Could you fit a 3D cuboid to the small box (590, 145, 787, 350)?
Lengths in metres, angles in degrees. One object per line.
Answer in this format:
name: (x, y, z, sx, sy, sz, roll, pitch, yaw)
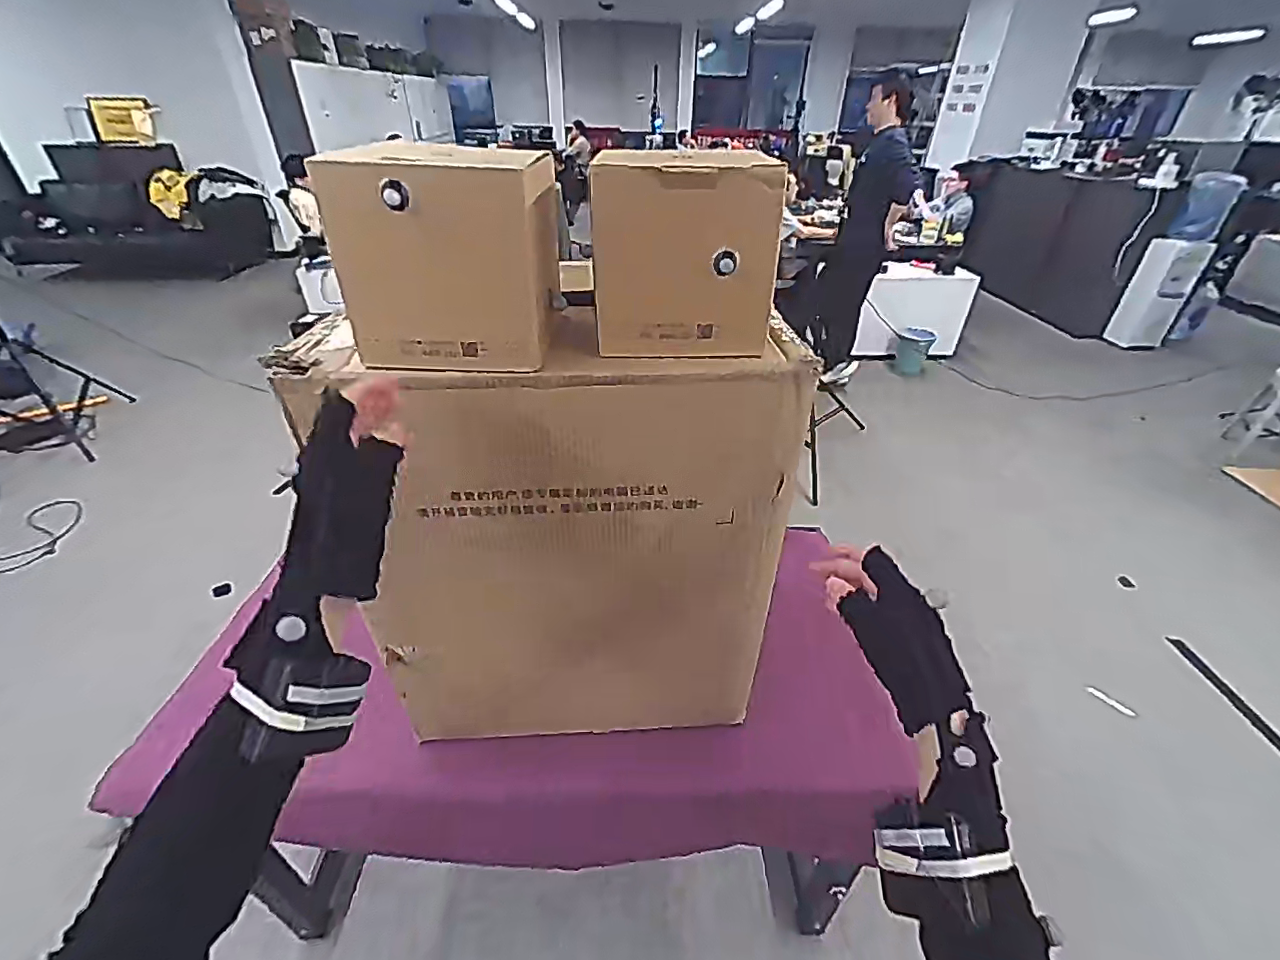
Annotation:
small box: (0.042, -0.239, 0.554, 0.168, 0.176, 0.179, 1, 33, 0)
